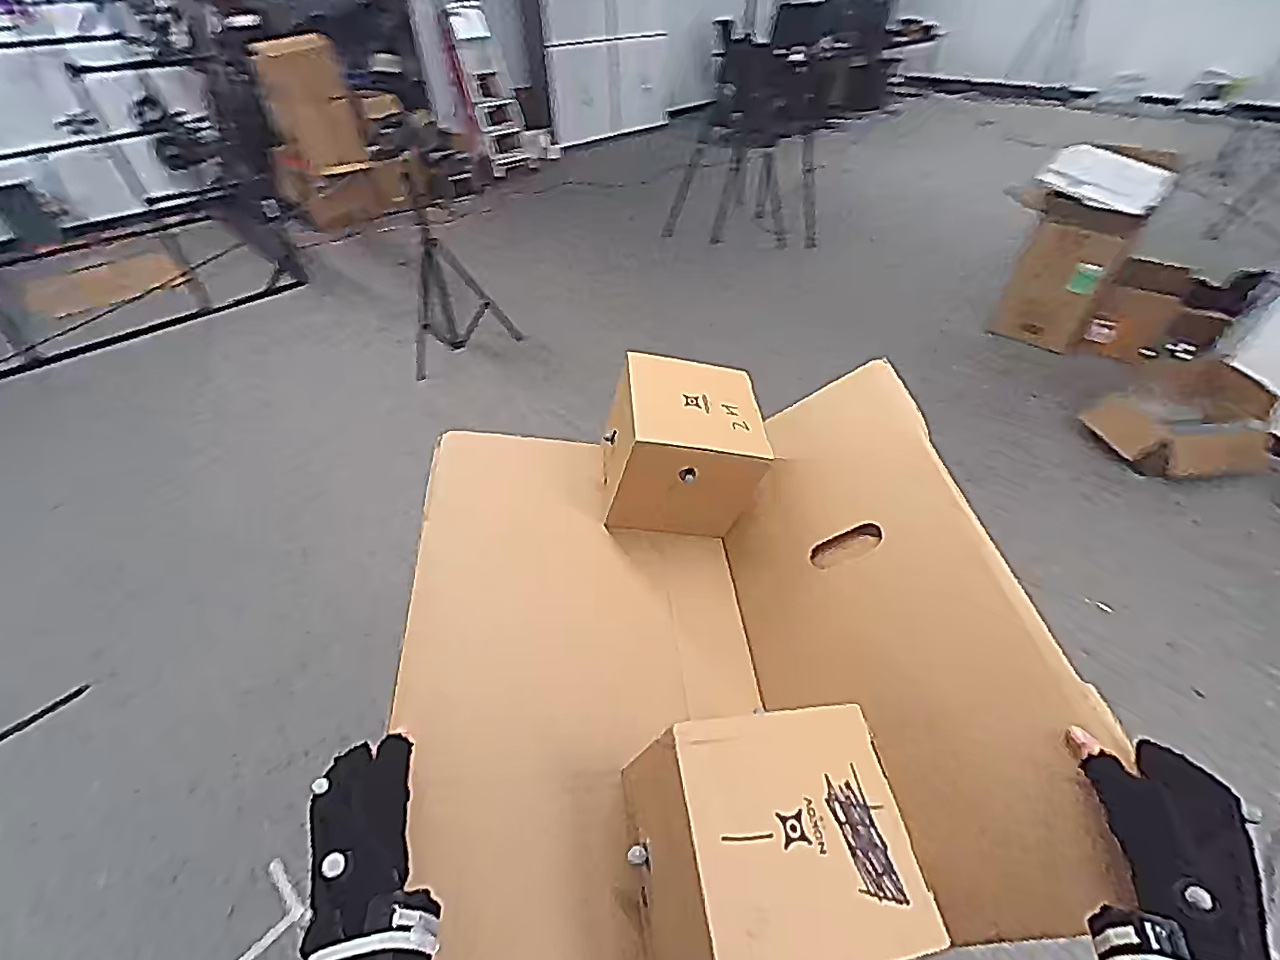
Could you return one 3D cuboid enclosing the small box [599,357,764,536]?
[{"bbox_3d":[0.041,-0.039,0.737,0.179,0.176,0.168,7,49,-15],"label":"small box"}]
